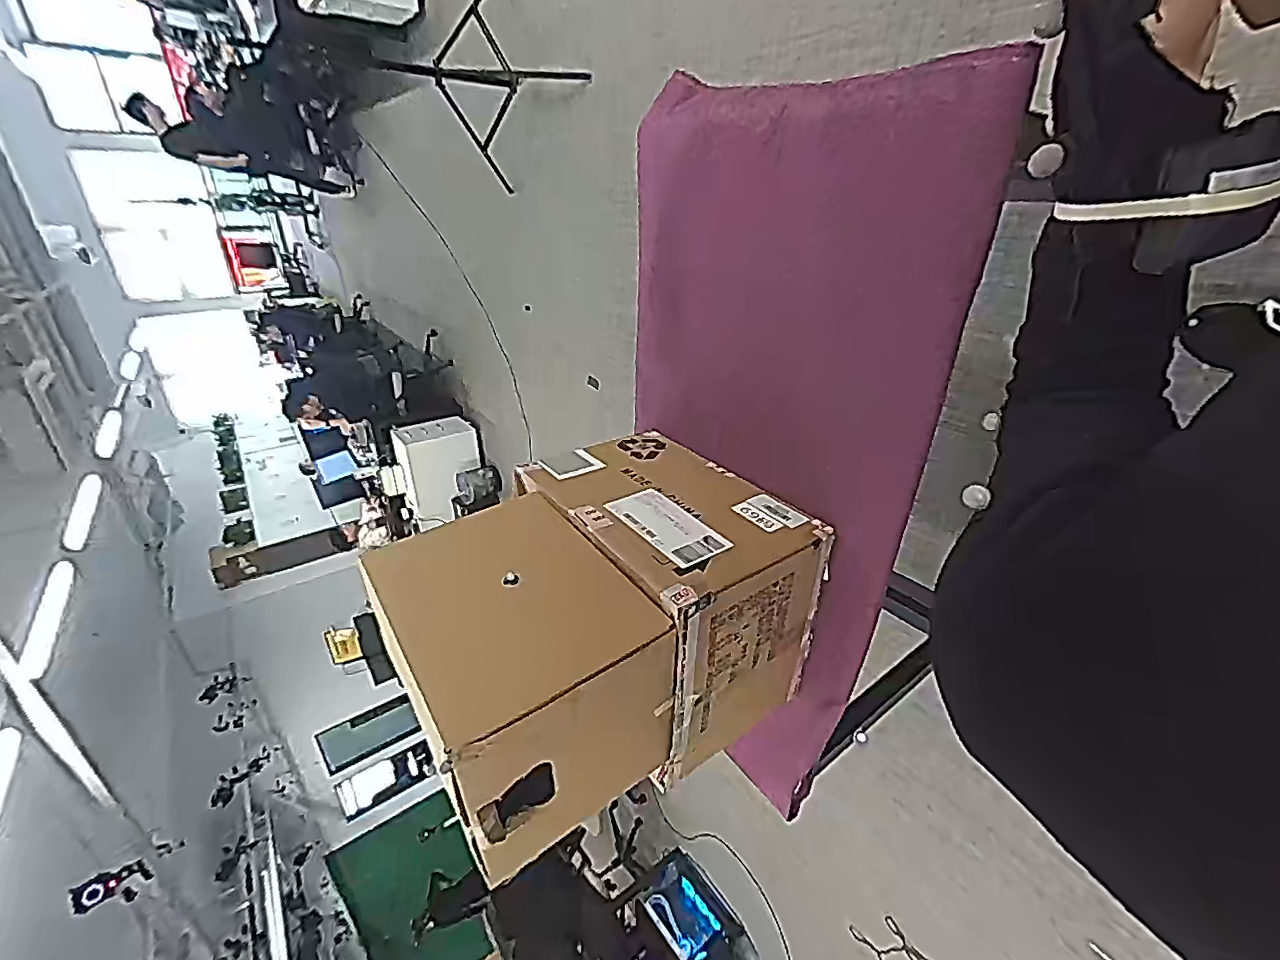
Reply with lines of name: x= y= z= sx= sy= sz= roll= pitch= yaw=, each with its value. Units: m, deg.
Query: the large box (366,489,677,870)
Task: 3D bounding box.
large box: x=-0.185 y=0.263 z=0.851 sx=0.408 sy=0.320 sz=0.320 roll=34 pitch=137 yaw=44
